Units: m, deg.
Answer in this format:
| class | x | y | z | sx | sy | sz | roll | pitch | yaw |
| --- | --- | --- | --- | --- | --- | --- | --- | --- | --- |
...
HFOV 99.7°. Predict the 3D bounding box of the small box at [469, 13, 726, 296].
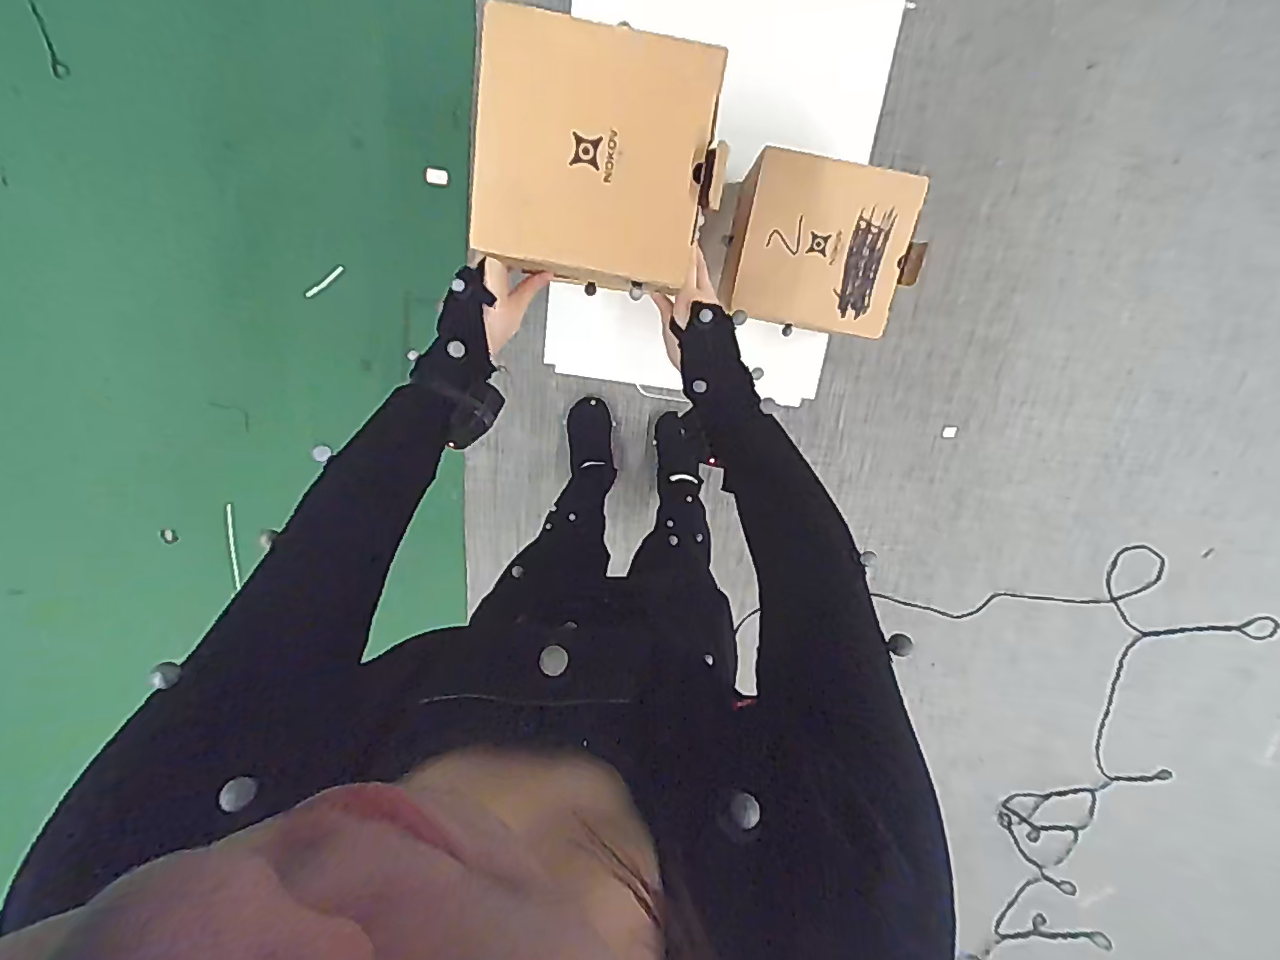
| class | x | y | z | sx | sy | sz | roll | pitch | yaw |
| --- | --- | --- | --- | --- | --- | --- | --- | --- | --- |
| small box | -0.037 | -0.263 | 0.485 | 0.179 | 0.176 | 0.168 | 9 | 107 | -4 |
